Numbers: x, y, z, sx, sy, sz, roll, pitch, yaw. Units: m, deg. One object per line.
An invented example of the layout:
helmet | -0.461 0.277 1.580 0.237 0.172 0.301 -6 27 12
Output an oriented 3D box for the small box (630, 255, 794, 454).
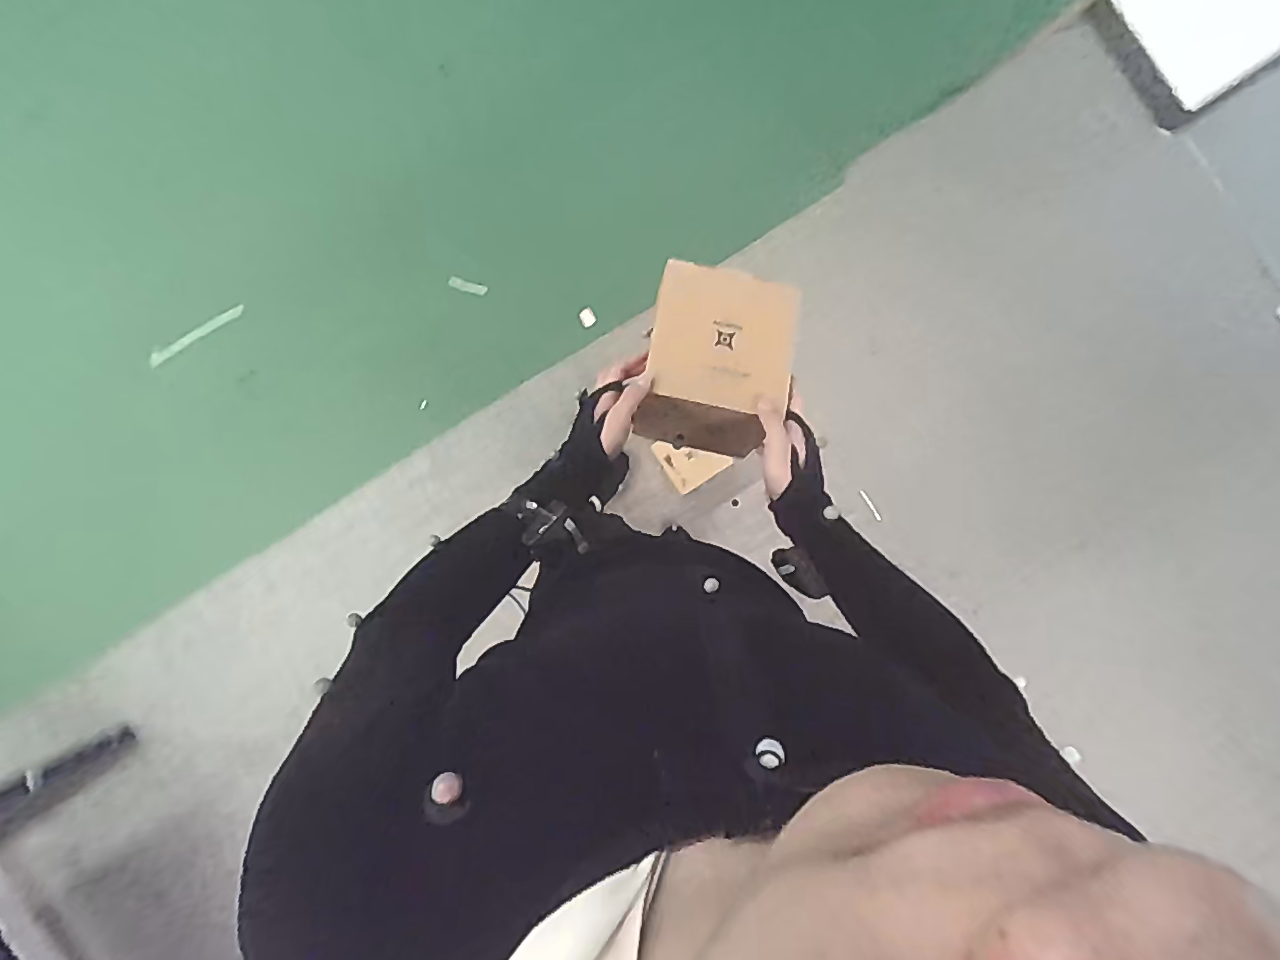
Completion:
small box | 0.083 -0.150 0.697 0.168 0.176 0.179 11 77 -1

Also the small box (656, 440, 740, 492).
small box | 0.160 -0.079 1.560 0.179 0.176 0.168 -31 89 -2
